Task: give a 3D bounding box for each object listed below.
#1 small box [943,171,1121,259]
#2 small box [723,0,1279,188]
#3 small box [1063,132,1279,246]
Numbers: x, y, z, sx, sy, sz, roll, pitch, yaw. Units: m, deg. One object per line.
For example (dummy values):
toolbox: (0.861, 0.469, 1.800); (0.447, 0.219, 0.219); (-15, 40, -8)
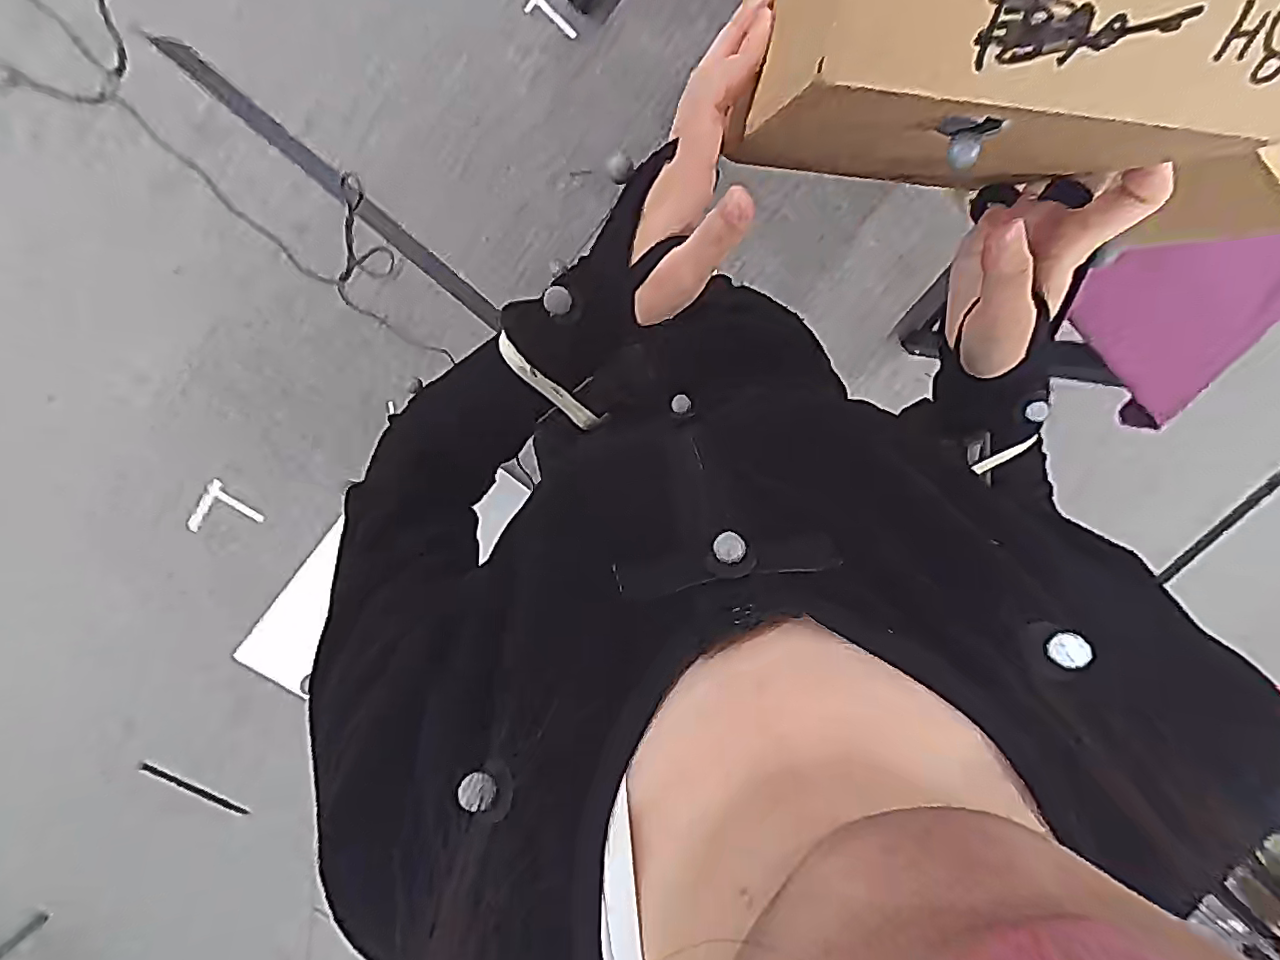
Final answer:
small box: (0.473, -0.369, 0.588); (0.168, 0.176, 0.179); (39, 103, -13)
small box: (0.136, -0.229, 0.212); (0.168, 0.176, 0.179); (3, 113, -5)
small box: (0.479, -0.316, 0.434); (0.168, 0.176, 0.179); (39, 101, -13)
